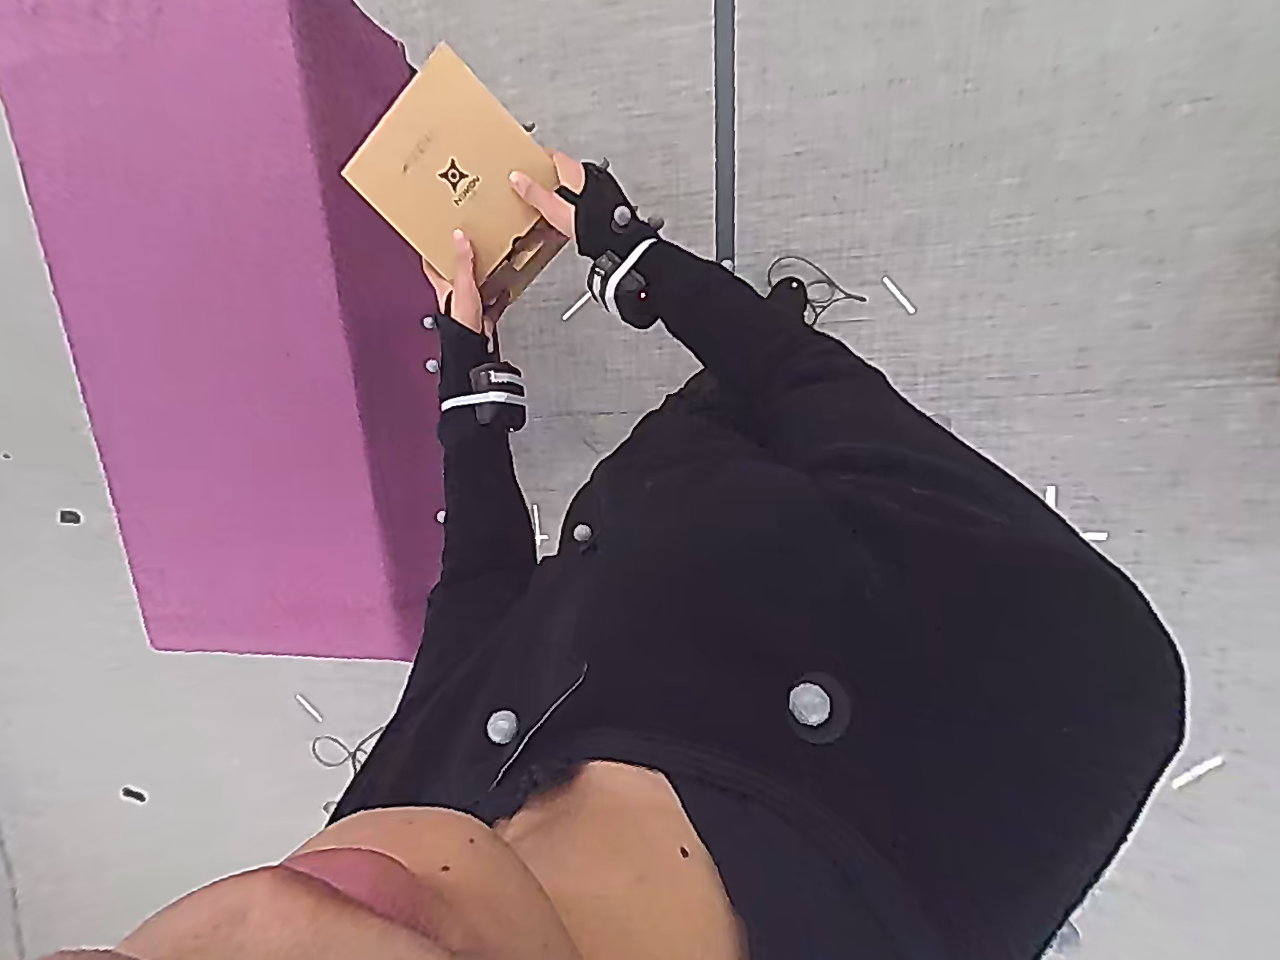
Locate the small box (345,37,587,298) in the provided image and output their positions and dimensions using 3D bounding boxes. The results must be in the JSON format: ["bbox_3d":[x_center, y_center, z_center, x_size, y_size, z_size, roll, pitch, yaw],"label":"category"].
[{"bbox_3d":[-0.179,-0.331,0.619,0.168,0.176,0.179,-43,101,12],"label":"small box"}]
